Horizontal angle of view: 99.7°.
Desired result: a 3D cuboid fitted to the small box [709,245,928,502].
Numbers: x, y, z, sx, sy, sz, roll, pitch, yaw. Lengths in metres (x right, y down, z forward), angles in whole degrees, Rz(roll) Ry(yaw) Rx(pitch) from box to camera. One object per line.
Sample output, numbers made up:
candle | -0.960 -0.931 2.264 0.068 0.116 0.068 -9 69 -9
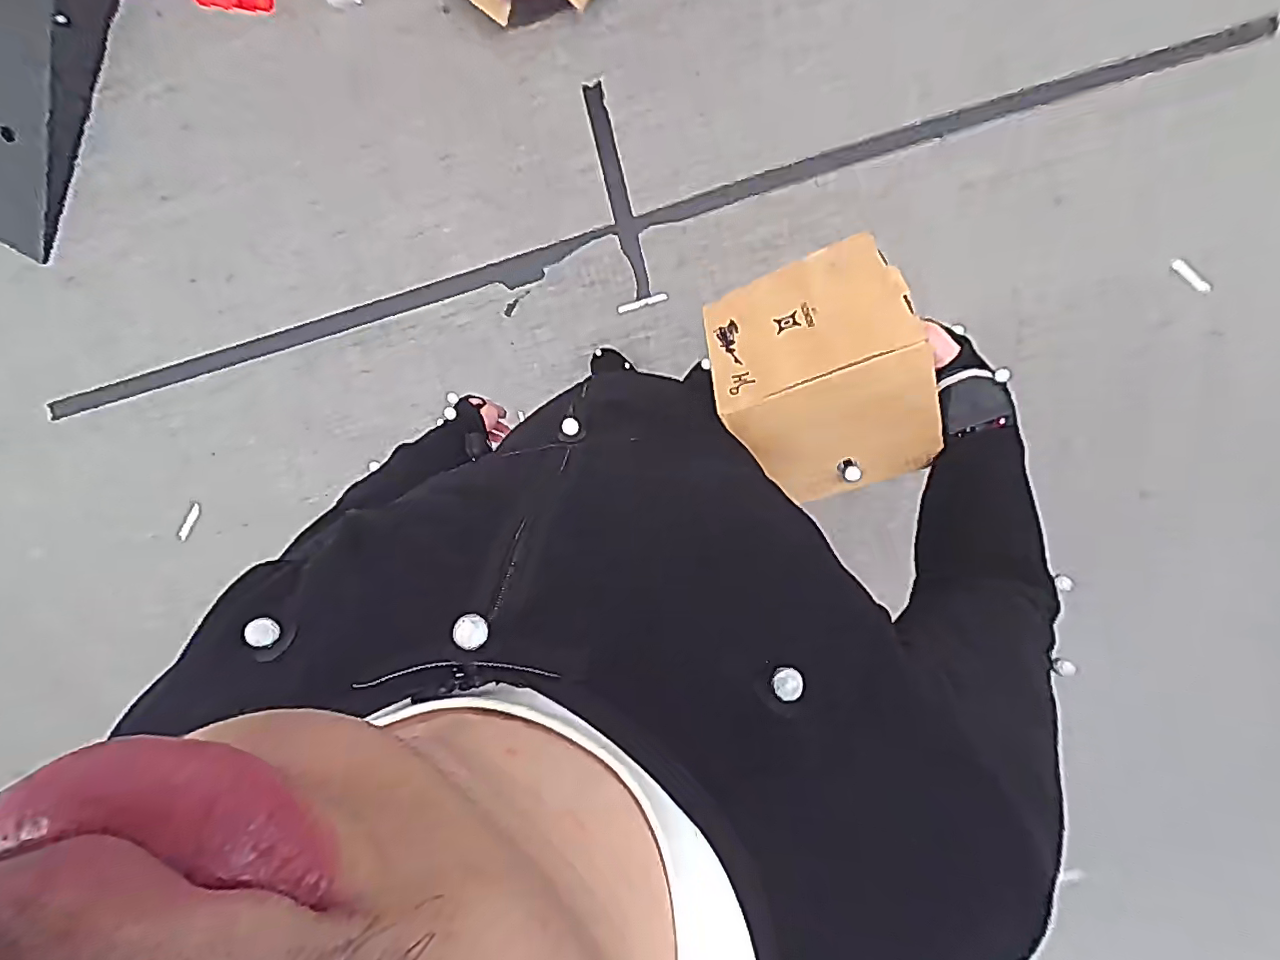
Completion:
small box | 0.188 -0.102 0.570 0.179 0.168 0.176 -18 138 20
